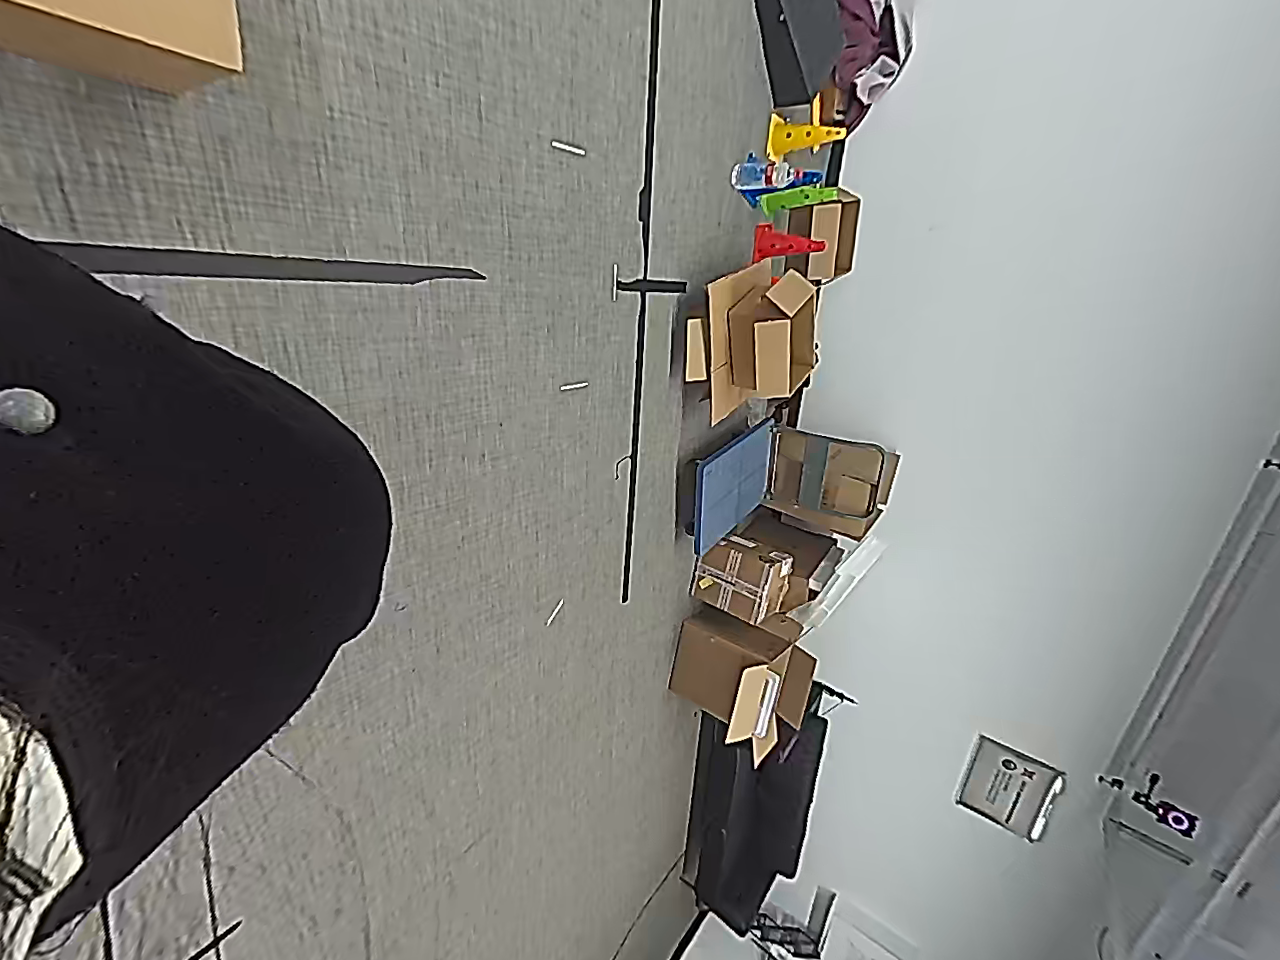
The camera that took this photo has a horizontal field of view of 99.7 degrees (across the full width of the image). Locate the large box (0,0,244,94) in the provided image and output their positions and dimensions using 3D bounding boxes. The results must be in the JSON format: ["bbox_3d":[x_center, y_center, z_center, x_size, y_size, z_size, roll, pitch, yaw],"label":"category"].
[{"bbox_3d":[-0.868,-0.797,0.753,0.408,0.320,0.320,-21,122,-51],"label":"large box"}]
